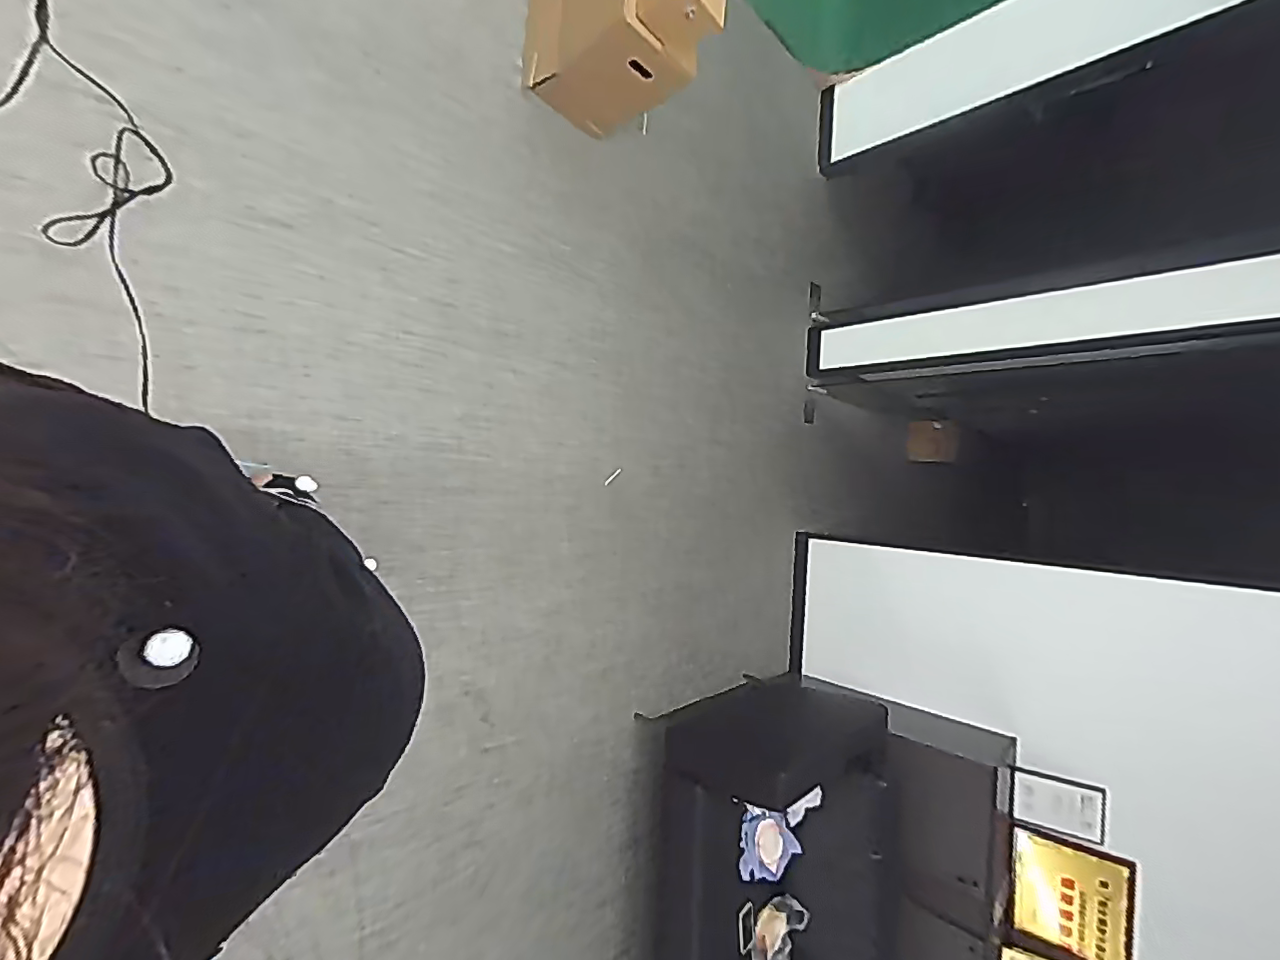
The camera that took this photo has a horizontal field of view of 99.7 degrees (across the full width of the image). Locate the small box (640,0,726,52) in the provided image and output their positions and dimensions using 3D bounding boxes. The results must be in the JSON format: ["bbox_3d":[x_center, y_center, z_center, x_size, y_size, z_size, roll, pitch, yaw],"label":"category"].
[{"bbox_3d":[0.117,-1.327,1.472,0.179,0.176,0.168,9,84,-46],"label":"small box"}]
